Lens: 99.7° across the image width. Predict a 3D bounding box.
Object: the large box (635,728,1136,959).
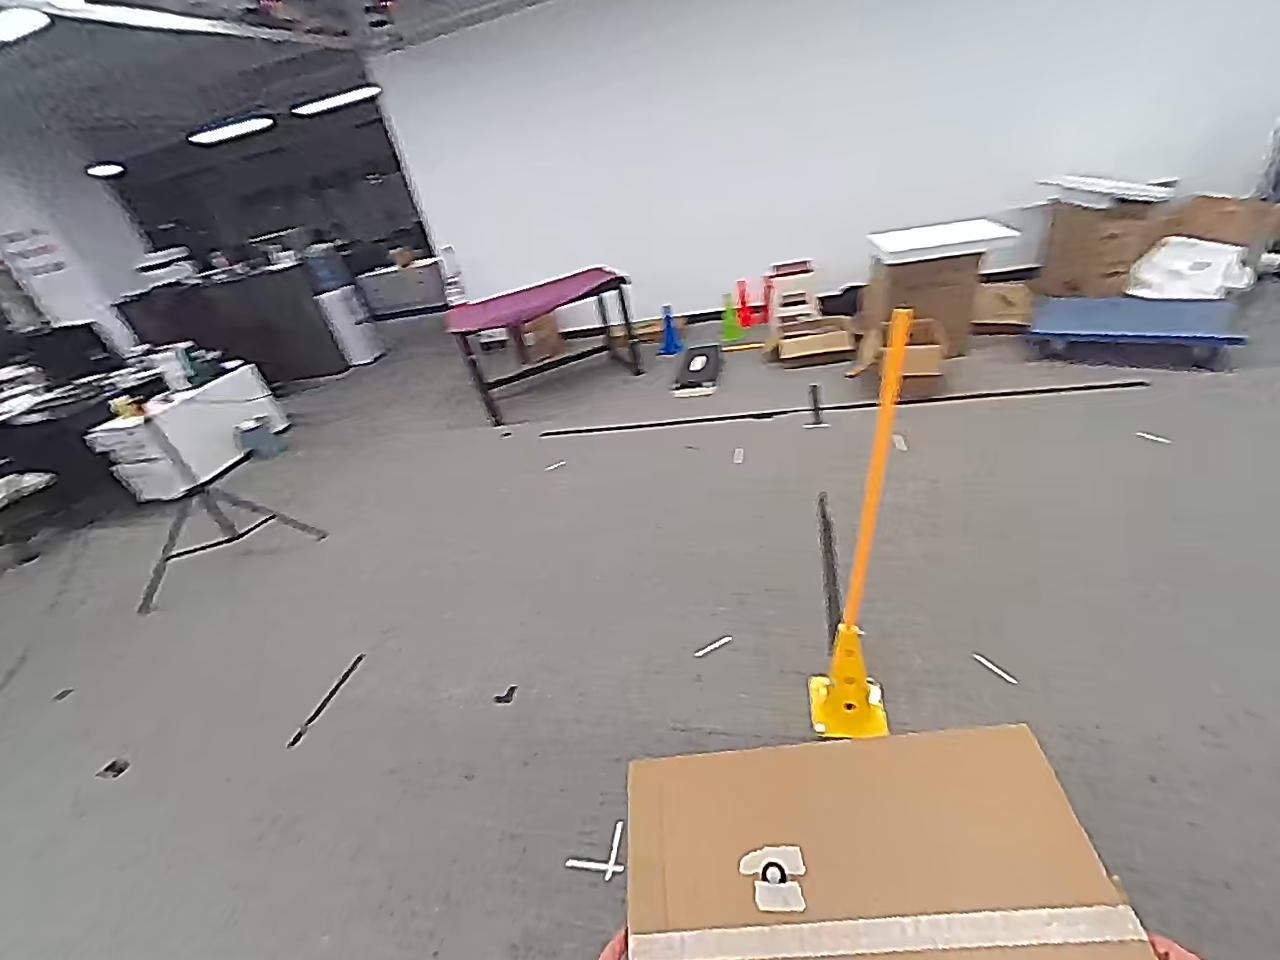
[{"bbox_3d":[0.227,0.493,0.563,0.408,0.320,0.320,-10,43,8],"label":"large box"}]
